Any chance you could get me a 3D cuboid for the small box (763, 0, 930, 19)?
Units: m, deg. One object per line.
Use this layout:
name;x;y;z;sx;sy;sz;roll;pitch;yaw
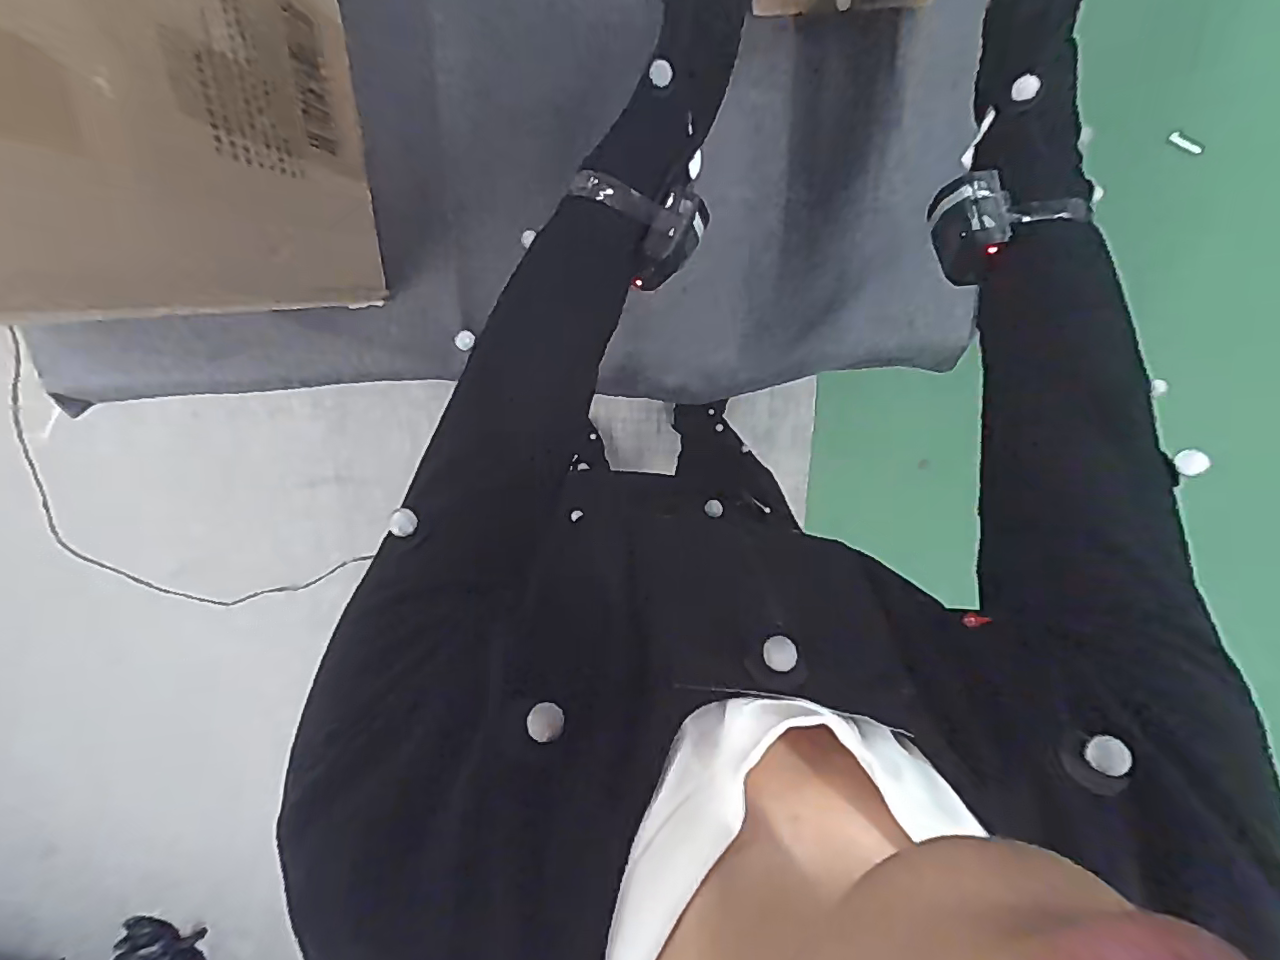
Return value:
small box;0.188;-0.507;0.423;0.168;0.176;0.179;2;111;6
